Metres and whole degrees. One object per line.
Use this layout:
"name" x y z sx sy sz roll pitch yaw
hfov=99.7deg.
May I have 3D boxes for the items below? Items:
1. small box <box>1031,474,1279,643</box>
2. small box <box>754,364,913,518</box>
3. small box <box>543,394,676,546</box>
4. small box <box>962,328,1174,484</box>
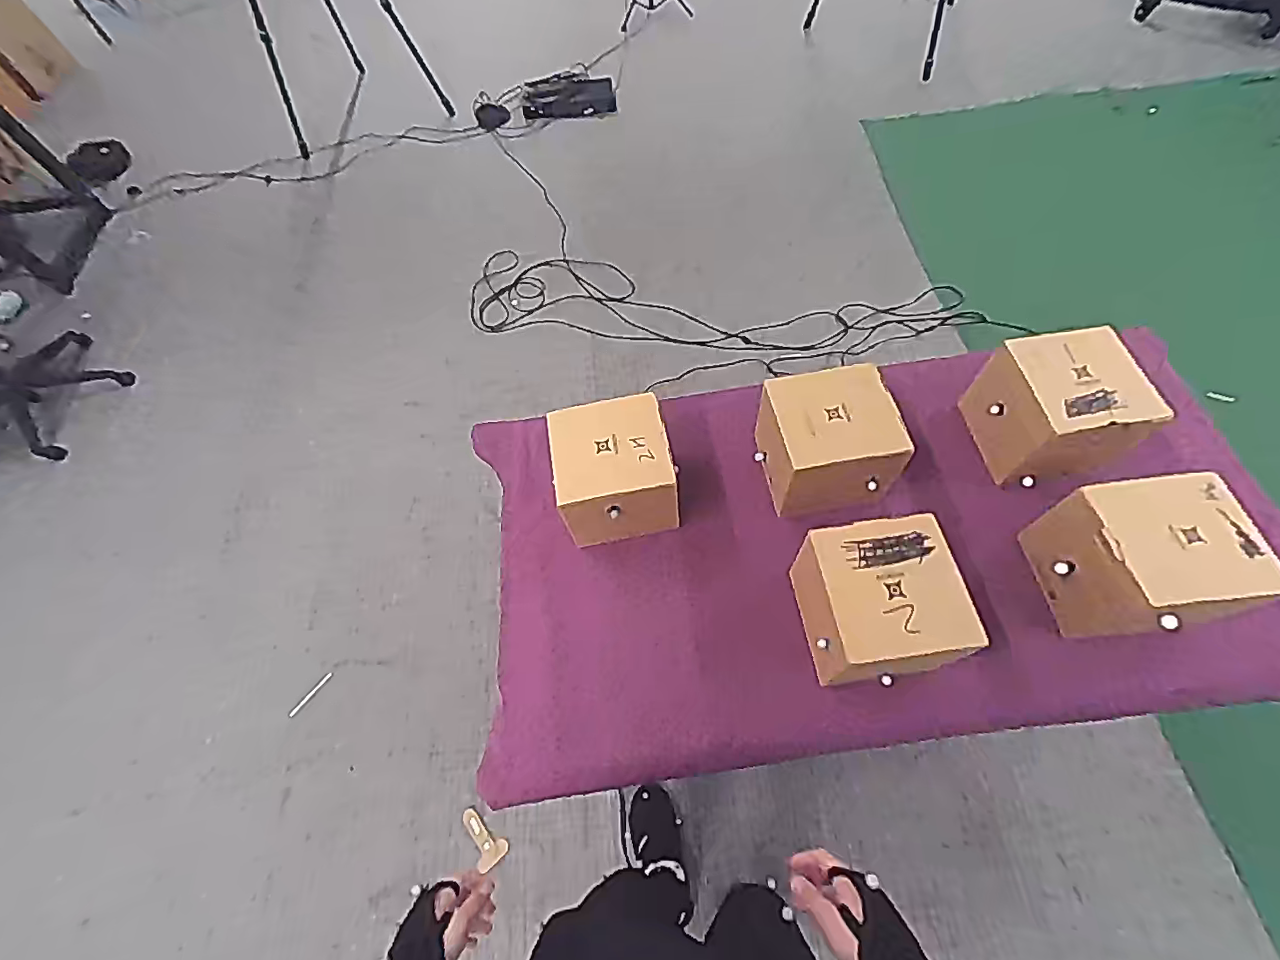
"small box" 0.669 0.112 0.723 0.179 0.176 0.168 -7 60 3
"small box" 0.290 -0.055 0.854 0.179 0.176 0.168 -9 61 1
"small box" -0.044 -0.008 0.857 0.179 0.176 0.168 -11 61 0
"small box" 0.646 -0.106 0.846 0.168 0.176 0.179 -7 60 1
